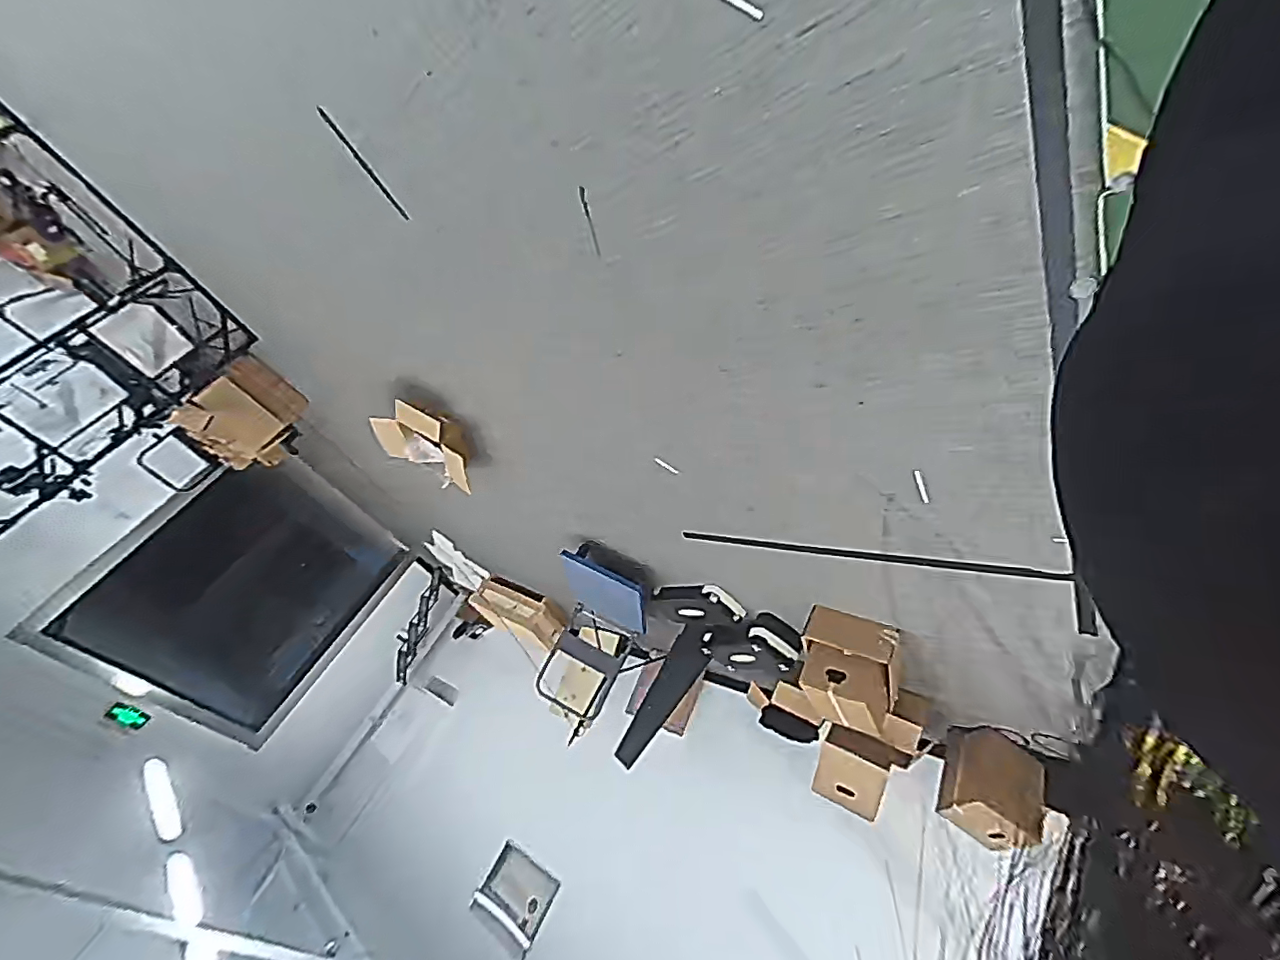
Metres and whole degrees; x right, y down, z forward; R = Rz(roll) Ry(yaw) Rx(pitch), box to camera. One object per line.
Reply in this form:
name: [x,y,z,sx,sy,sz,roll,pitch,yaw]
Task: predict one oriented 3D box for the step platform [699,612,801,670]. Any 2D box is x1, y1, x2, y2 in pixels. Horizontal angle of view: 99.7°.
step platform: [0.635,0.973,3.226,0.286,0.204,0.684,37,150,-8]
